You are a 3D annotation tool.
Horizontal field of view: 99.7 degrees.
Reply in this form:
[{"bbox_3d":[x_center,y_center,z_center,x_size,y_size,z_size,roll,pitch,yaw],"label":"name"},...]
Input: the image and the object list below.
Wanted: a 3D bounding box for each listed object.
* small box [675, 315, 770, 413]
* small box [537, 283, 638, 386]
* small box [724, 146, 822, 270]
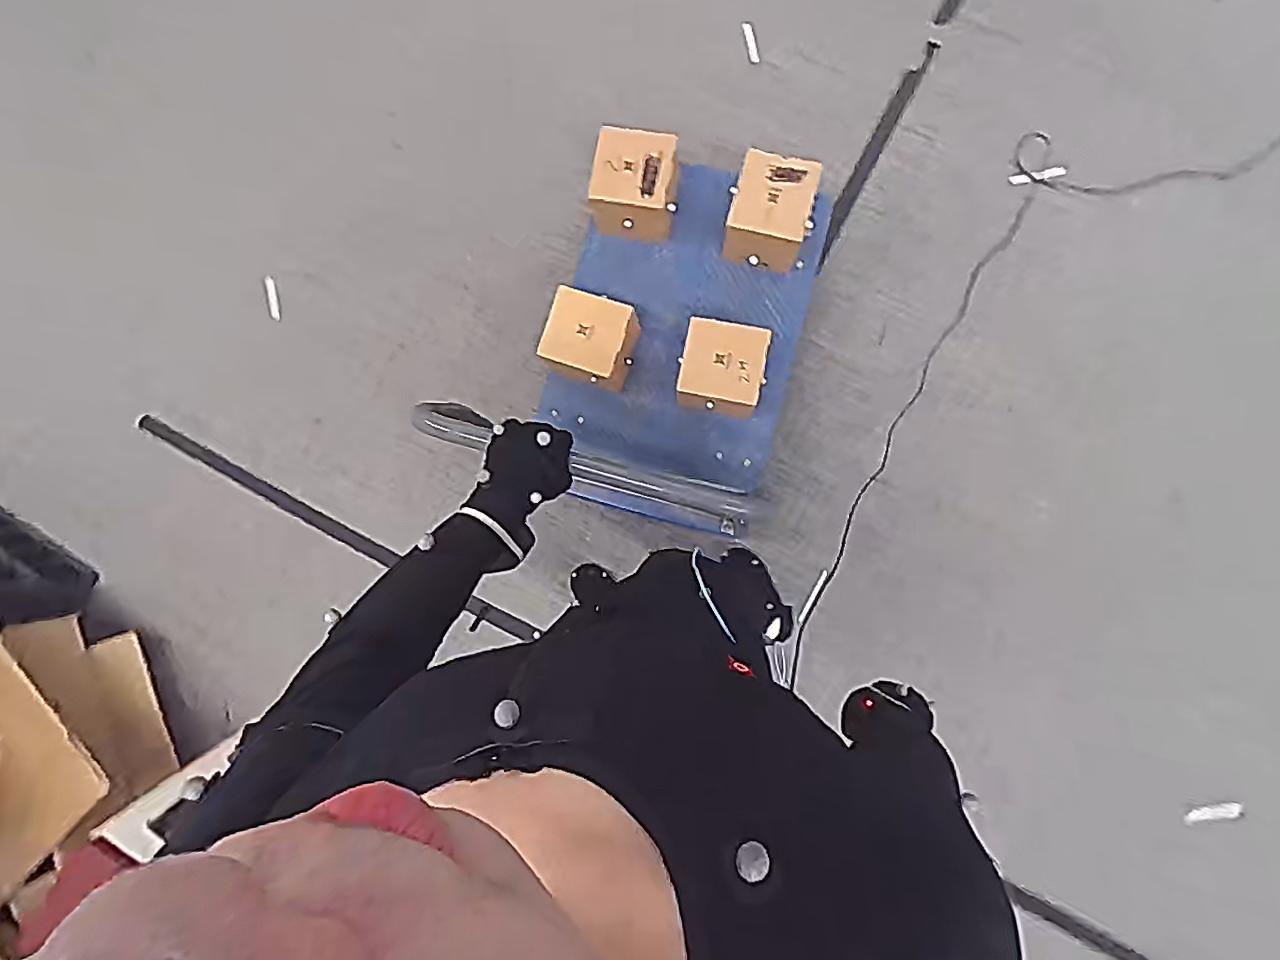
[{"bbox_3d":[0.183,-0.256,1.229,0.179,0.176,0.168,12,90,6],"label":"small box"},{"bbox_3d":[-0.115,-0.330,1.263,0.179,0.176,0.168,18,90,5],"label":"small box"},{"bbox_3d":[0.293,-0.610,1.230,0.168,0.176,0.179,16,91,6],"label":"small box"}]
